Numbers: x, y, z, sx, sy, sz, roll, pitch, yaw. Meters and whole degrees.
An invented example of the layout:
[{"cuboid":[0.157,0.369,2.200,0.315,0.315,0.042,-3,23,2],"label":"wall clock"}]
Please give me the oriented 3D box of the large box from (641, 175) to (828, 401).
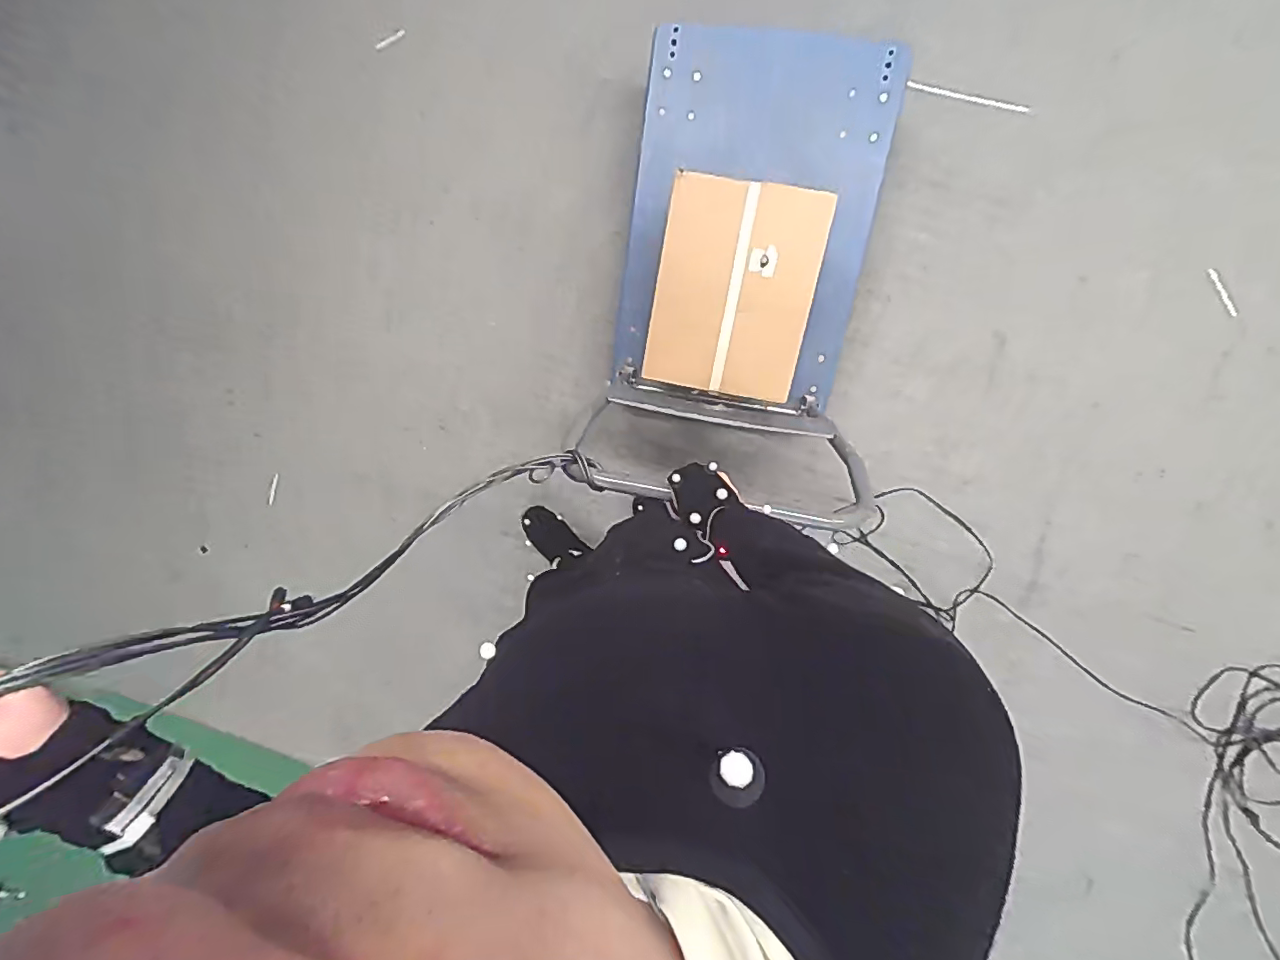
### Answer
[{"cuboid":[0.201,-0.416,1.238,0.320,0.320,0.408,12,106,4],"label":"large box"}]
